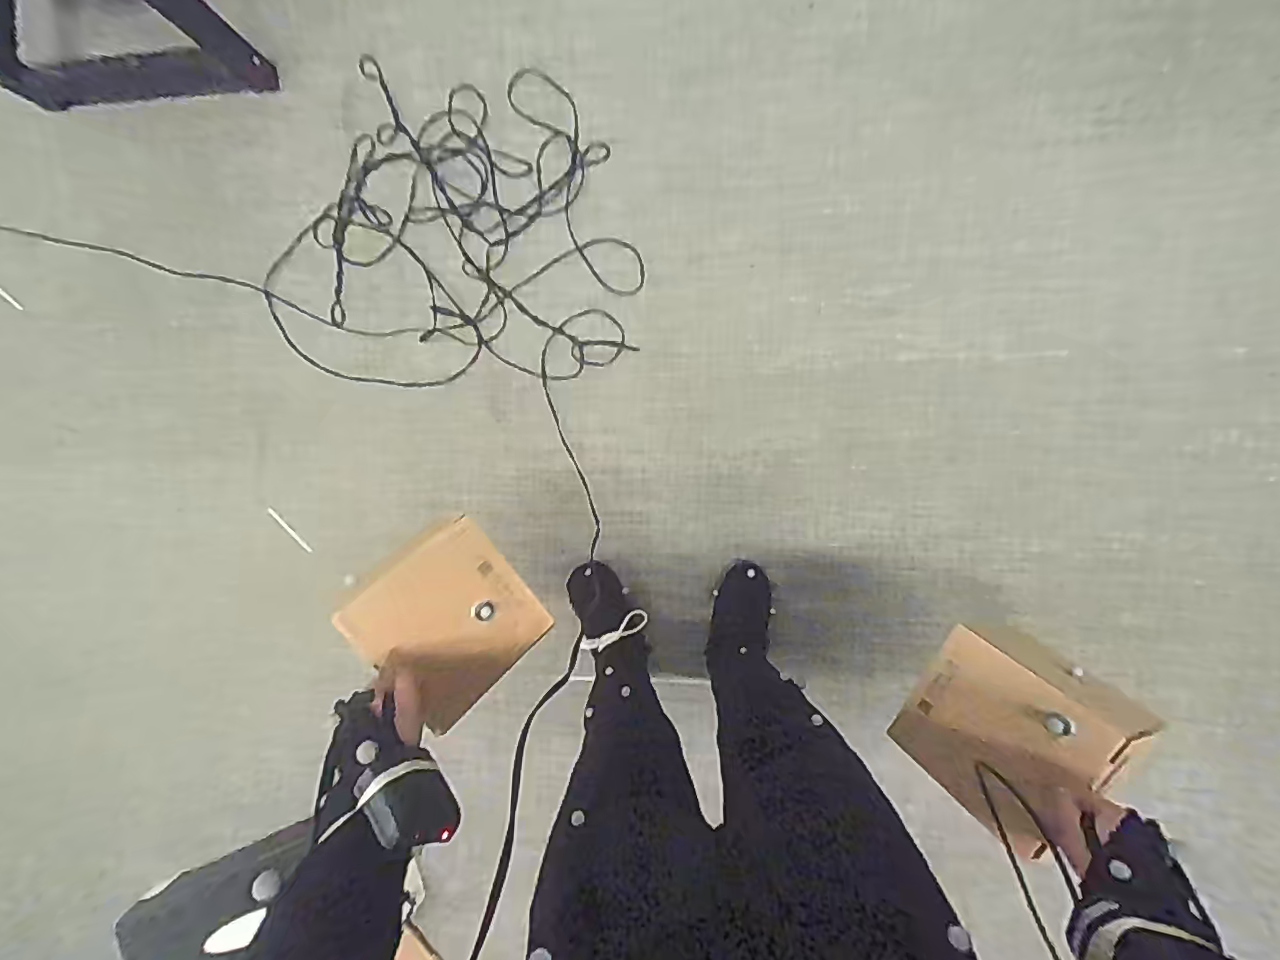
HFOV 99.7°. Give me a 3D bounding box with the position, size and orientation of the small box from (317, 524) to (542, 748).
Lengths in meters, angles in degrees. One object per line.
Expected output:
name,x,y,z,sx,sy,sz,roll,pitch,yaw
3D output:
small box,-0.243,0.167,0.632,0.176,0.179,0.168,-44,105,-30
